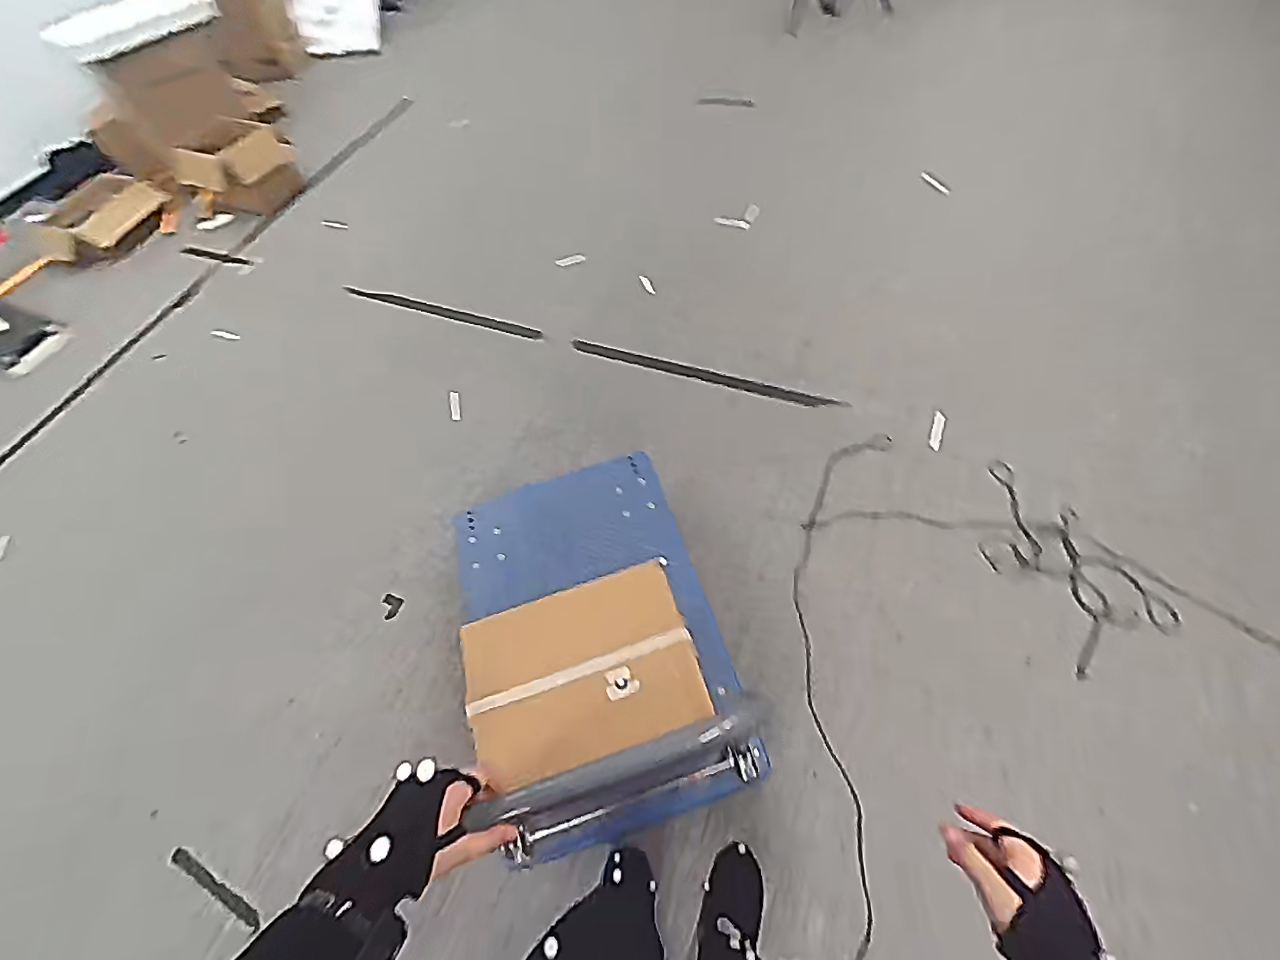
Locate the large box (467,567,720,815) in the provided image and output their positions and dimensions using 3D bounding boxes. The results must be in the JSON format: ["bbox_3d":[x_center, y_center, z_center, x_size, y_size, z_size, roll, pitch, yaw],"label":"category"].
[{"bbox_3d":[-0.082,0.432,1.086,0.408,0.320,0.320,-18,58,-4],"label":"large box"}]
